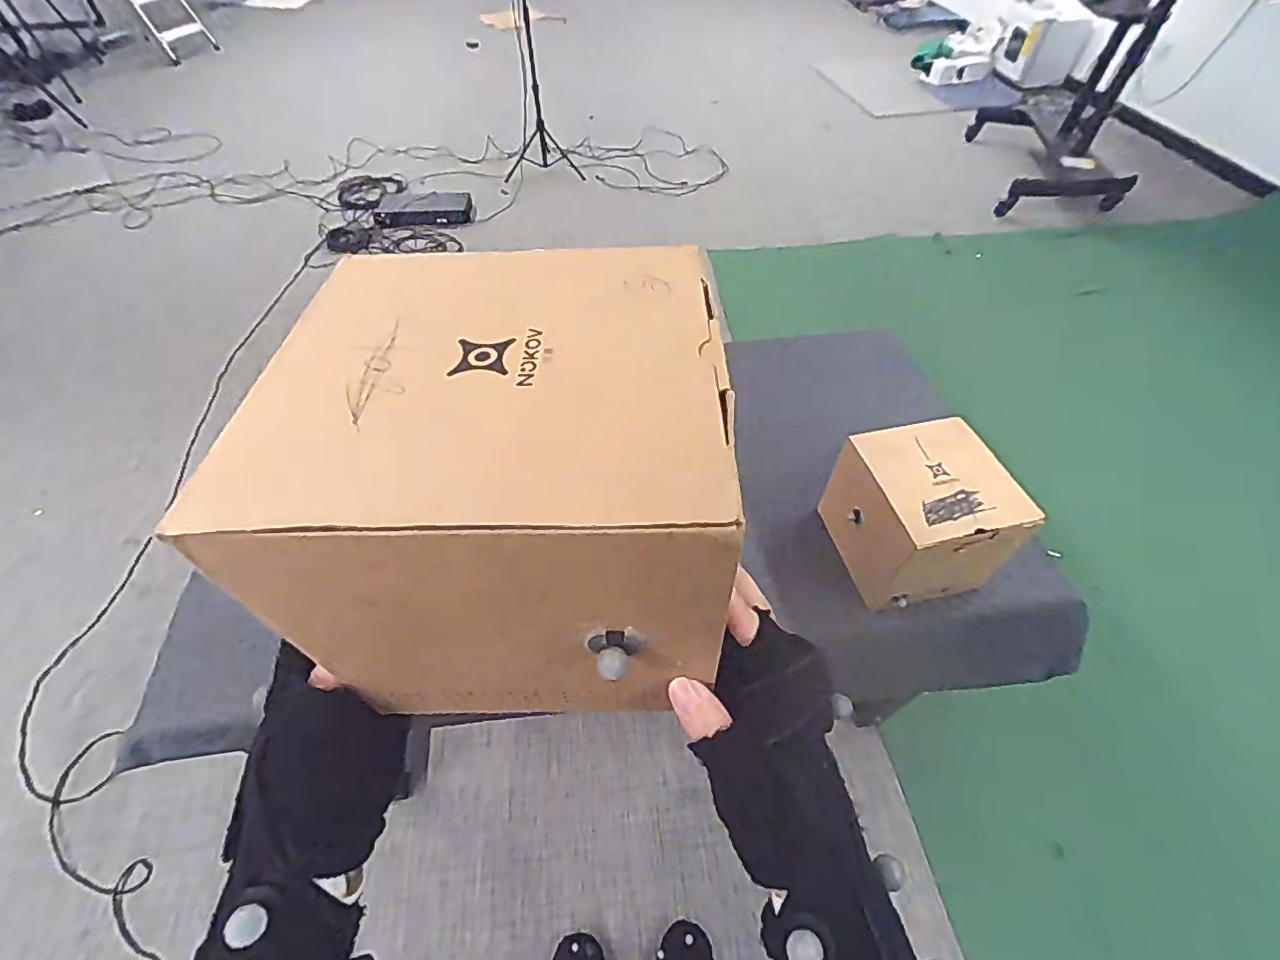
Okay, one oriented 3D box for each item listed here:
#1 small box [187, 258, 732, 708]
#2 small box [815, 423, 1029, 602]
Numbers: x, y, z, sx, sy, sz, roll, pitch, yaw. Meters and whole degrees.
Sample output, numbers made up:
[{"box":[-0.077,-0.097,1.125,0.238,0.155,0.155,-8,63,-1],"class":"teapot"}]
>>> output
[{"box":[-0.055,0.007,0.281,0.179,0.176,0.168,-2,49,2],"class":"small box"},{"box":[0.363,0.051,0.737,0.168,0.176,0.179,-10,51,-7],"class":"small box"}]
